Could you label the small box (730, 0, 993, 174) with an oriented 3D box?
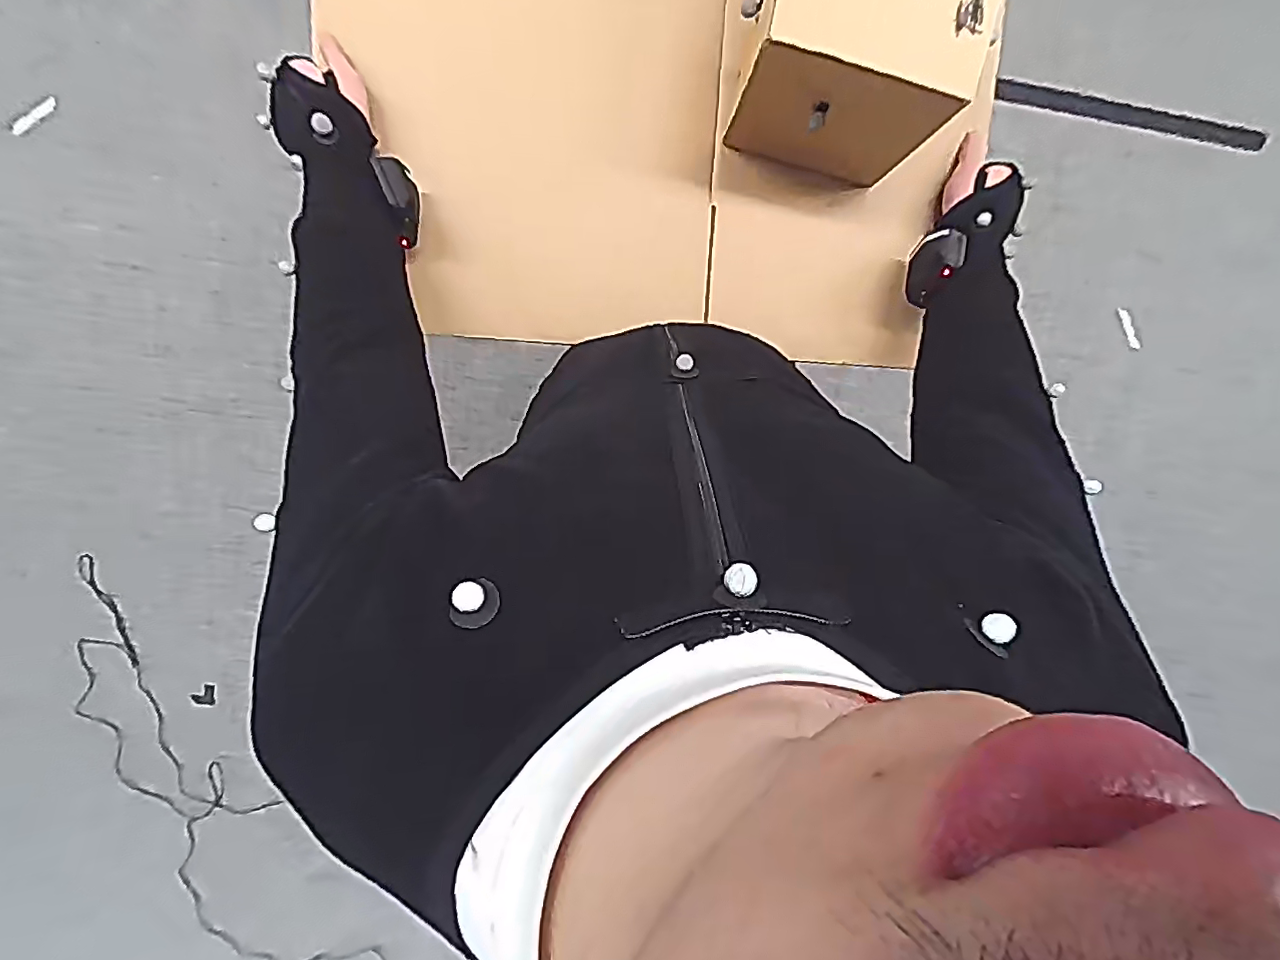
[{"bbox_3d":[0.194,-0.416,0.500,0.179,0.176,0.168,13,97,-4],"label":"small box"}]
